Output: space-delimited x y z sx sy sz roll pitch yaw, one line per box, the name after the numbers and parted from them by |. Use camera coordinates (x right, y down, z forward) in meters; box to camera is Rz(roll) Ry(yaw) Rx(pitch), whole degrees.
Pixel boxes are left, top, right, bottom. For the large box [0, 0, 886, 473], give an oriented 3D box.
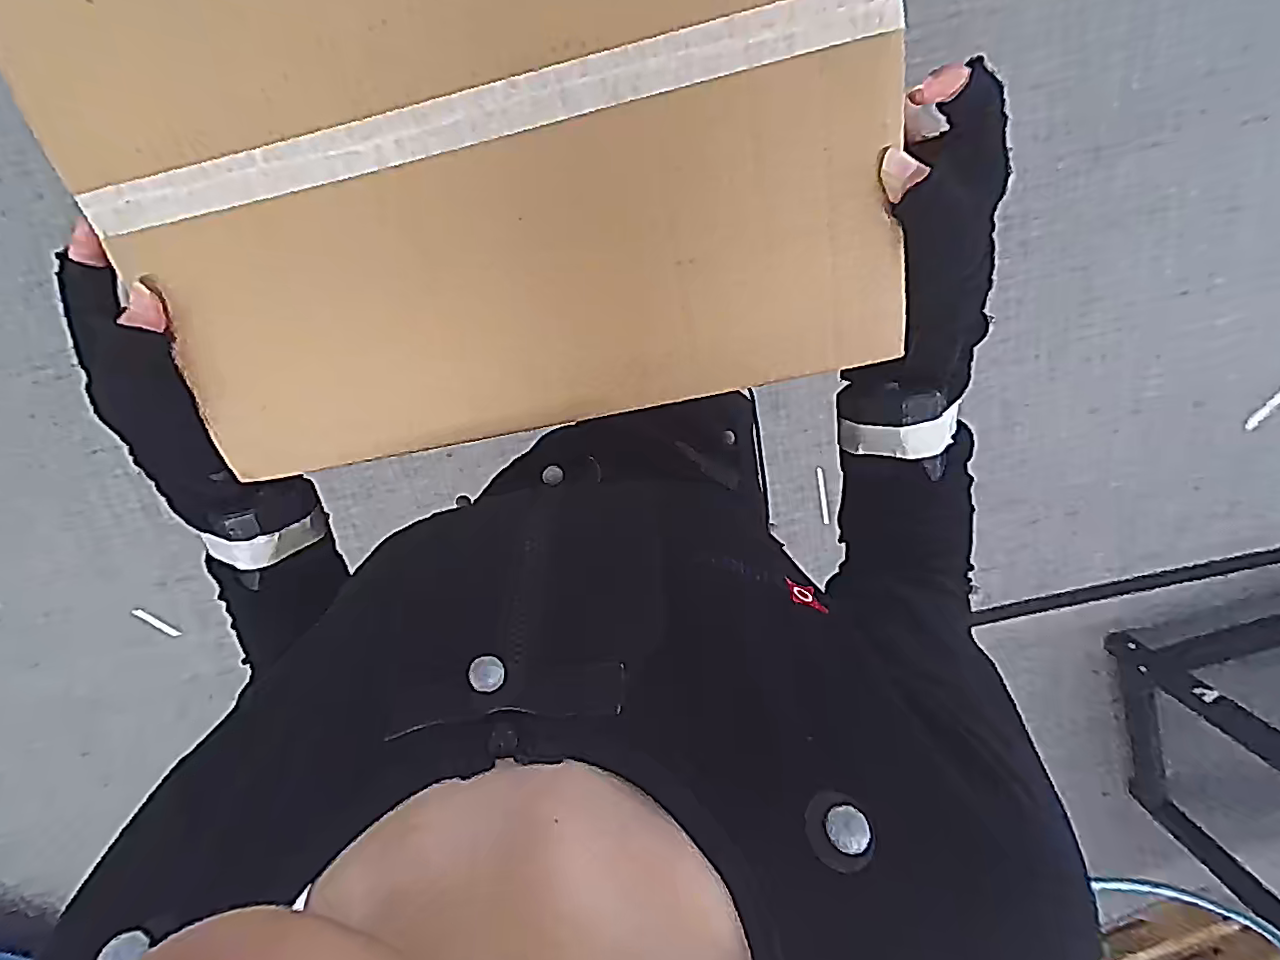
-0.080 -0.239 0.402 0.408 0.320 0.320 -10 114 7 | large box
